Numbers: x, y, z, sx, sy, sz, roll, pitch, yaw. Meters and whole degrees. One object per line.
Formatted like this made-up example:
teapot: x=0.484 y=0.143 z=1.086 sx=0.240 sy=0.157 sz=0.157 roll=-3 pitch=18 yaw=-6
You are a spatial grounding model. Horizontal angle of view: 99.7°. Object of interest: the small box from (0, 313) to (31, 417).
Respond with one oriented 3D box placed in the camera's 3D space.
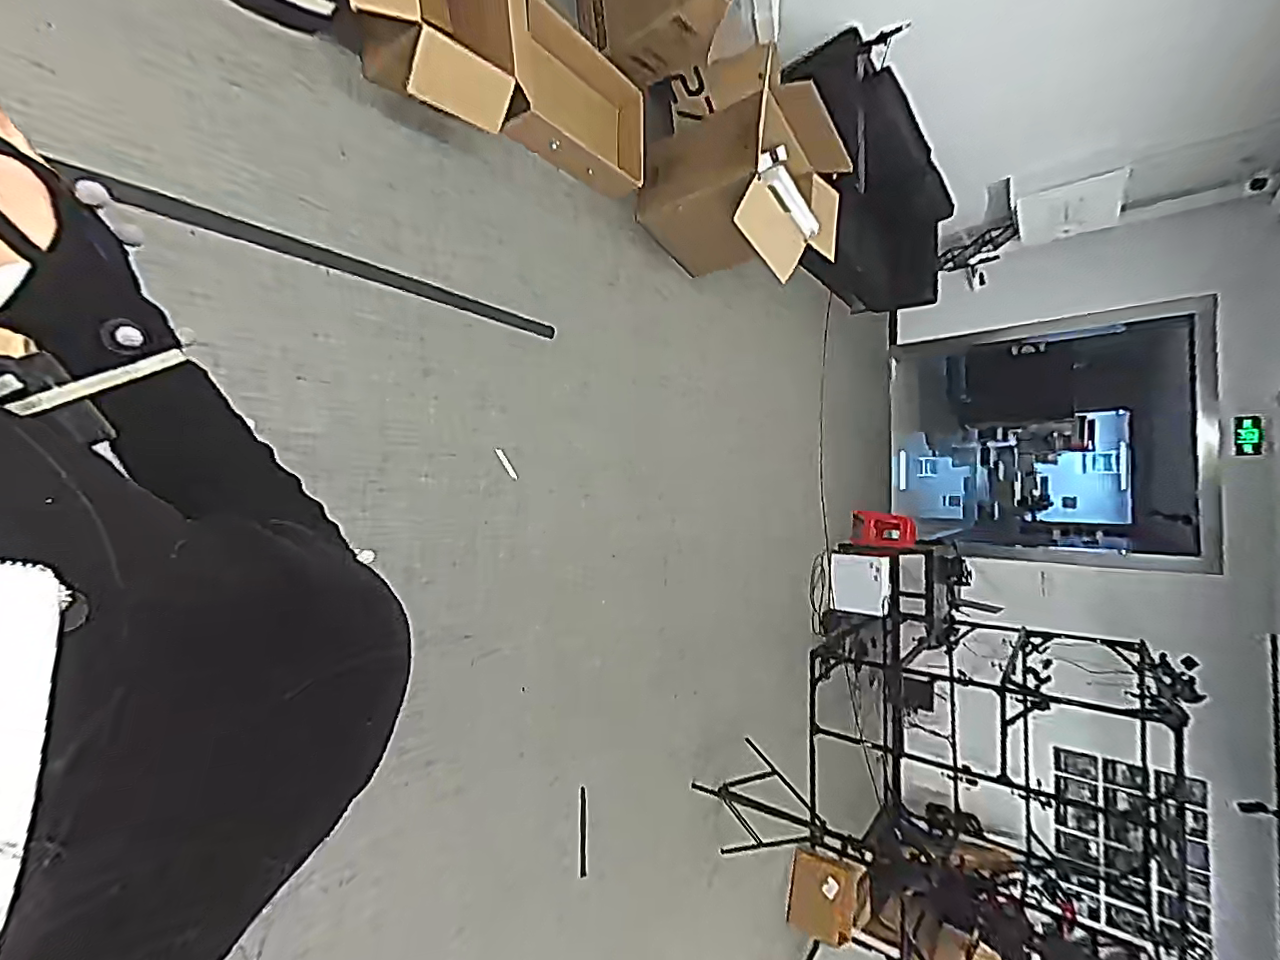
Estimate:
small box: x=-1.169 y=-0.195 z=0.906 sx=0.179 sy=0.176 sz=0.168 roll=-7 pitch=94 yaw=-52
